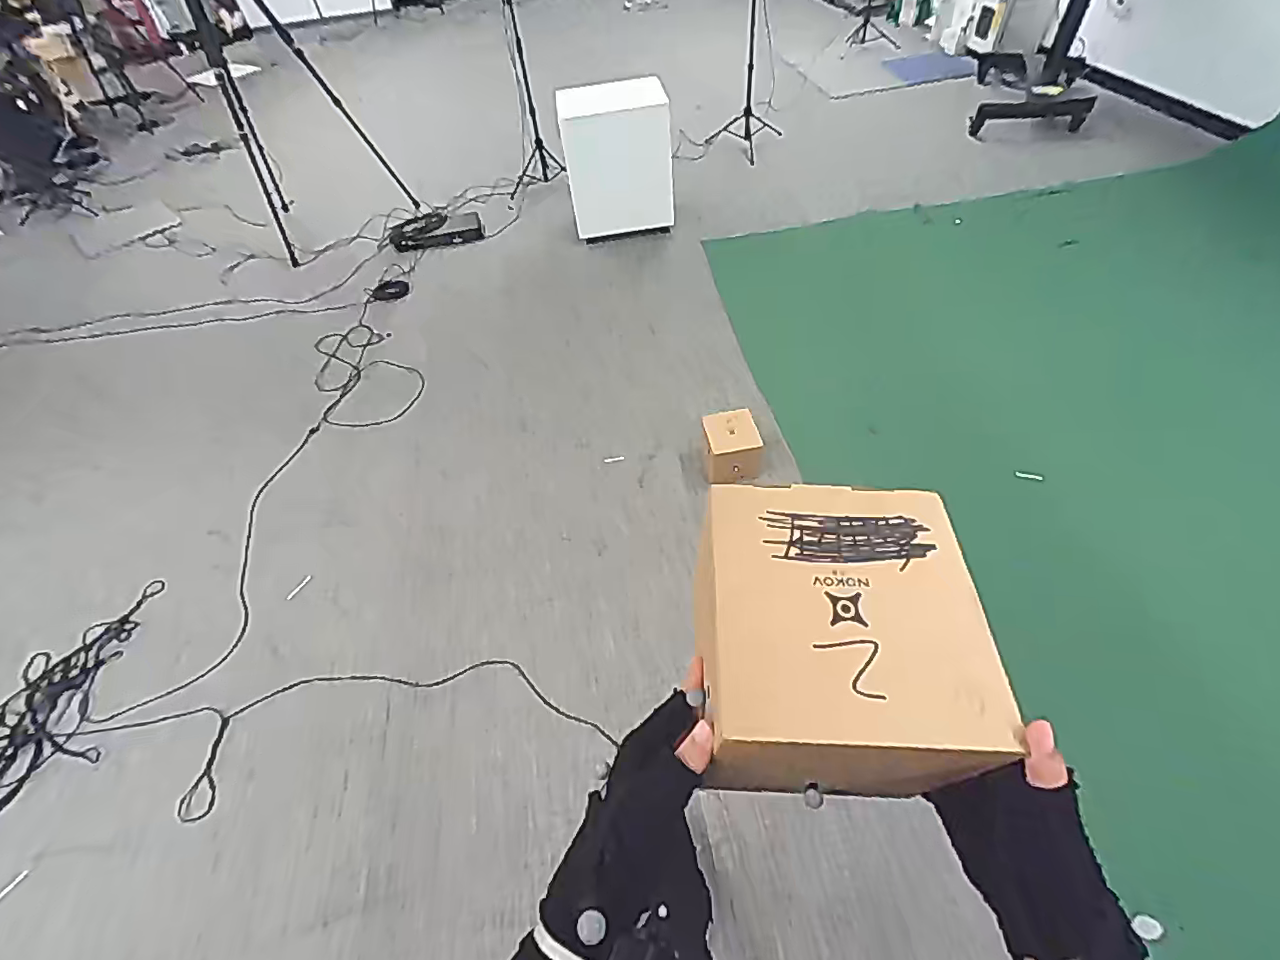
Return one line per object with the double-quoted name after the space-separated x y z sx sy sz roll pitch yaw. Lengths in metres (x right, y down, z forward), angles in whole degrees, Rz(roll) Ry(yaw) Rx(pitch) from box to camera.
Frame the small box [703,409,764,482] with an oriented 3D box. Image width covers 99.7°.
0.310 -0.108 1.815 0.168 0.176 0.179 -10 52 -3 "small box"
